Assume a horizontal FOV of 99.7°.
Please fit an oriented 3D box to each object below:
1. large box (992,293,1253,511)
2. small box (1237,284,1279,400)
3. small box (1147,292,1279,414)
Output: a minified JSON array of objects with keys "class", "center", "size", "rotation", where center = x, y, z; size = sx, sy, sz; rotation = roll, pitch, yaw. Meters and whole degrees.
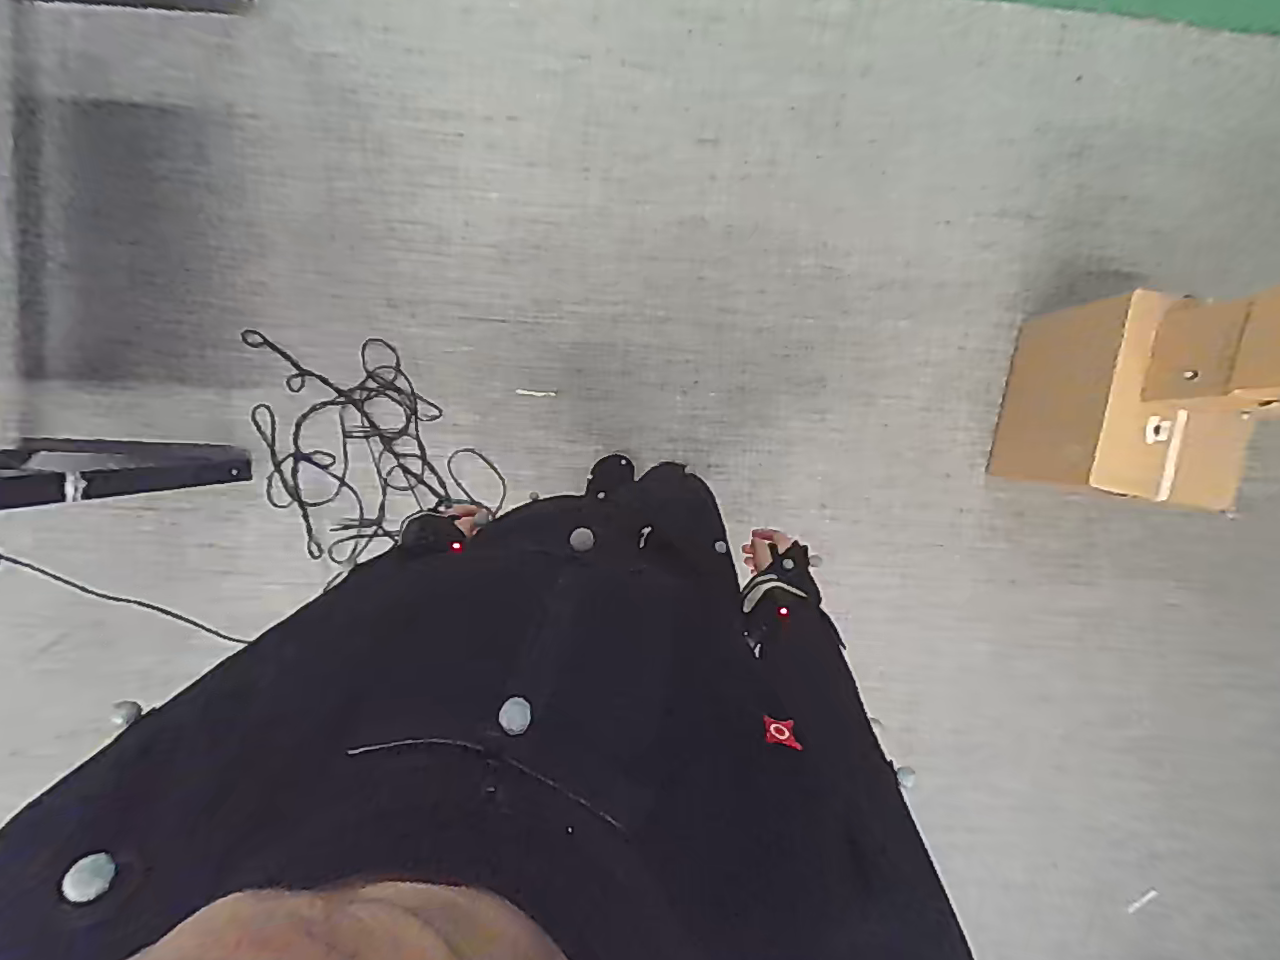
[{"class":"large box","center":[1.083,-0.168,1.232],"size":[0.320,0.320,0.408],"rotation":[9,95,-1]},{"class":"small box","center":[1.089,-0.215,0.823],"size":[0.168,0.176,0.179],"rotation":[11,95,-4]},{"class":"small box","center":[1.089,-0.219,0.986],"size":[0.168,0.176,0.179],"rotation":[9,93,-4]}]
